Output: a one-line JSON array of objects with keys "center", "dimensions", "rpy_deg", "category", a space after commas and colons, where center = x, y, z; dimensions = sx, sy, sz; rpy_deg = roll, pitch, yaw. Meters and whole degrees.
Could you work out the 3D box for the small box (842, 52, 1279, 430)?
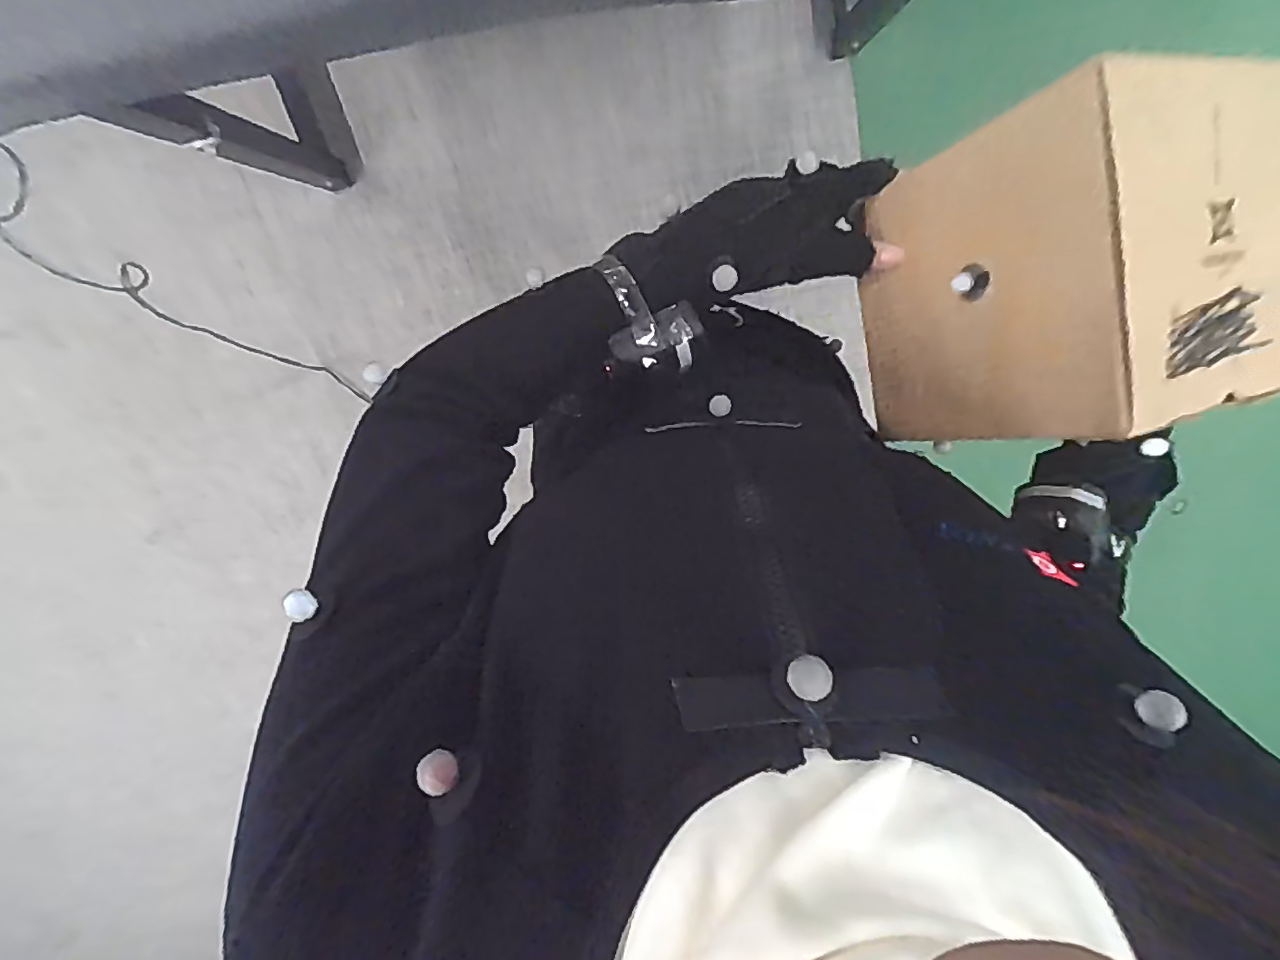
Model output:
[{"center": [0.262, -0.130, 0.359], "dimensions": [0.168, 0.176, 0.179], "rpy_deg": [-11, 95, -20], "category": "small box"}]
